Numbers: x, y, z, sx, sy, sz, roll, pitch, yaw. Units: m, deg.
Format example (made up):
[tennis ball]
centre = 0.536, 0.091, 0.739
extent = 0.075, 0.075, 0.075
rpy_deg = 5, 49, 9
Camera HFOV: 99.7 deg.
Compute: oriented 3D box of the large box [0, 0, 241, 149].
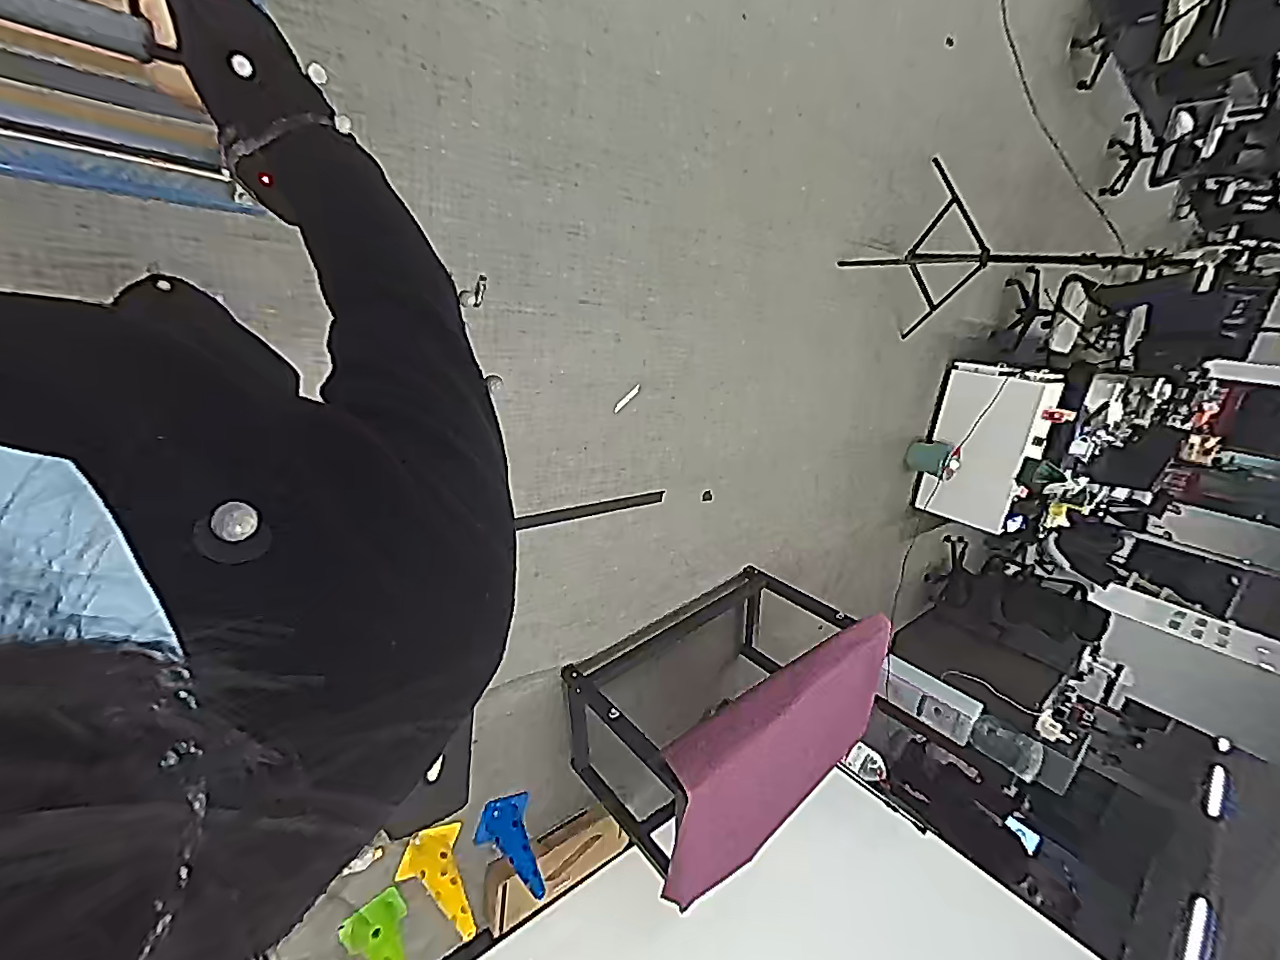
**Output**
[large box]
centre = -0.775, -0.655, 0.668
extent = 0.408, 0.320, 0.320
rpy_deg = -8, 112, -41
